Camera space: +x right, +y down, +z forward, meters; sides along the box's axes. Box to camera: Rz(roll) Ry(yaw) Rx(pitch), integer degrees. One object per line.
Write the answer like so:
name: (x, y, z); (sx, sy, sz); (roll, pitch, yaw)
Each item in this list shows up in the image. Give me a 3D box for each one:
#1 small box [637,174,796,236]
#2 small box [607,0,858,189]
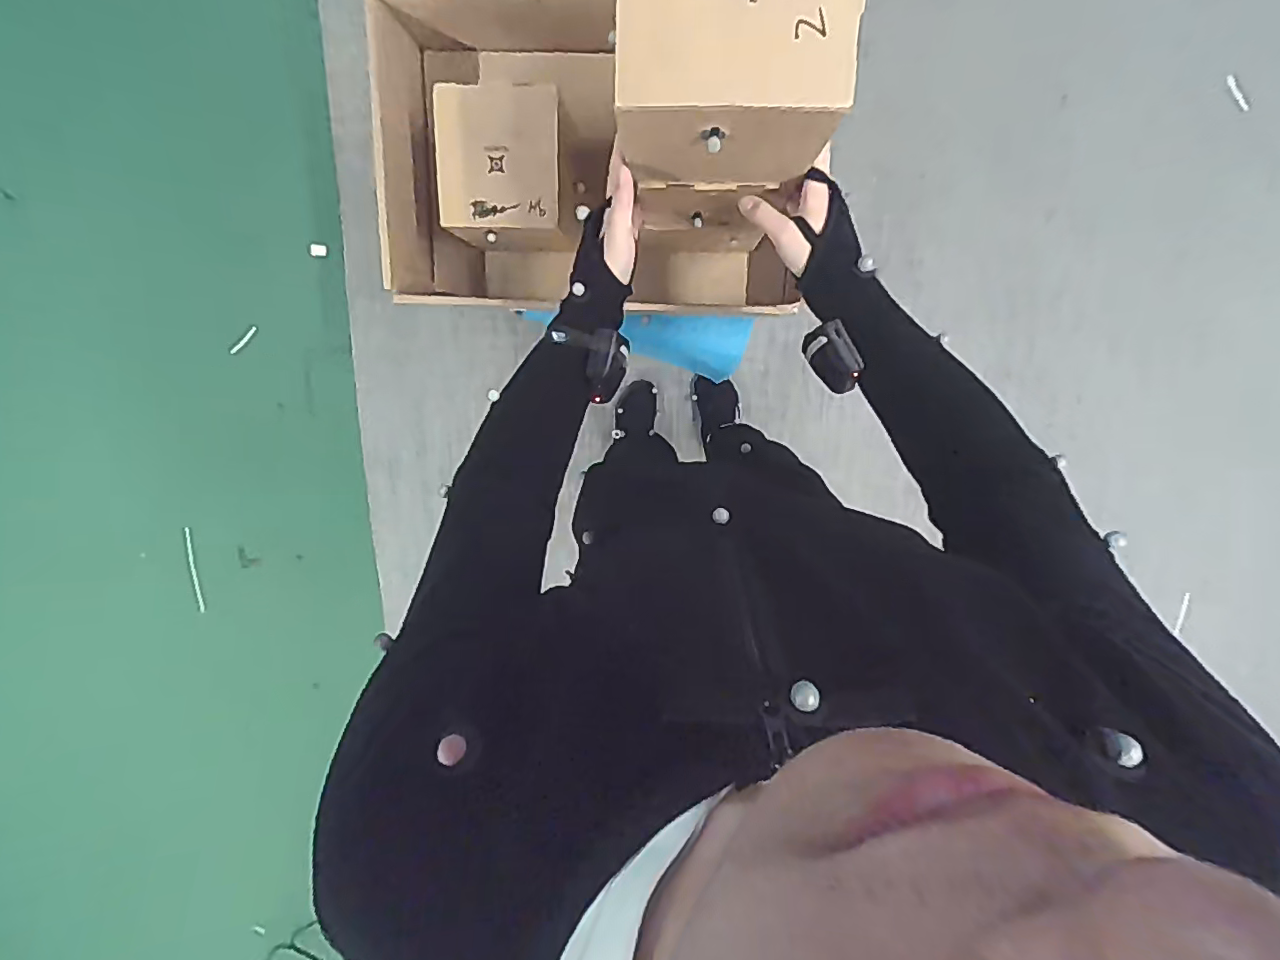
small box: (0.083, -0.395, 0.618); (0.168, 0.176, 0.179); (2, 102, 2)
small box: (0.070, -0.362, 0.457); (0.179, 0.176, 0.168); (3, 102, 2)
